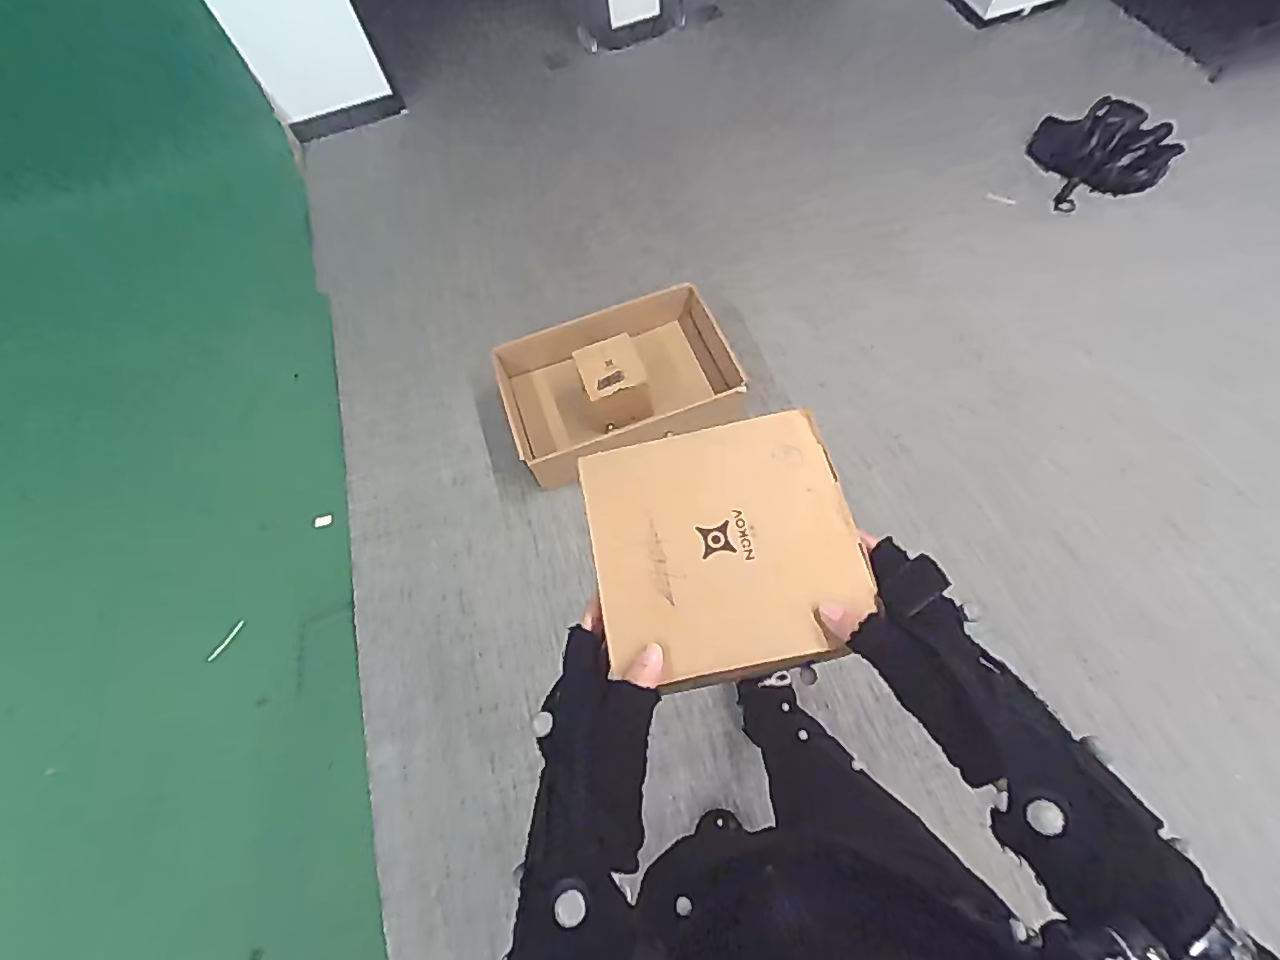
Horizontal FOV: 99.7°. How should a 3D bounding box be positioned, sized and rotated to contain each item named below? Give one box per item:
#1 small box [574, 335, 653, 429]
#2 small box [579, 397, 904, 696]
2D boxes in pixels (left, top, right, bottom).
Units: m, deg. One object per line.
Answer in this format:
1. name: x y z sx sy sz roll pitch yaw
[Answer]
1. small box: -0.068 -0.262 1.503 0.168 0.176 0.179 -20 64 -4
2. small box: 0.065 0.064 0.429 0.179 0.176 0.168 -16 66 -1
